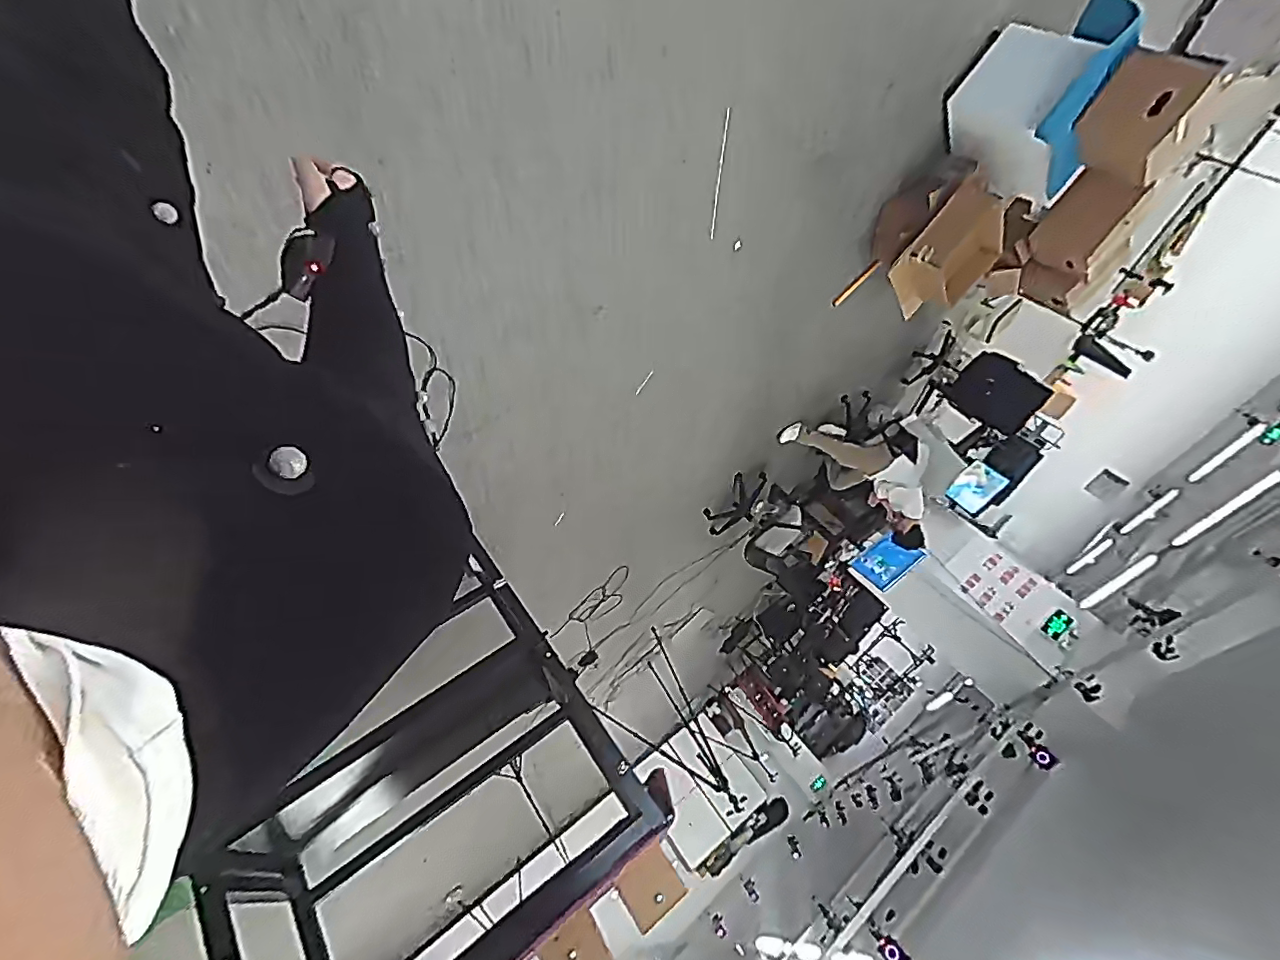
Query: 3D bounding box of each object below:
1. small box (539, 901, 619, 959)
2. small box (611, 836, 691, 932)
[{"bbox_3d":[-0.175,1.349,1.548,0.168,0.176,0.179,-30,149,-23],"label":"small box"},{"bbox_3d":[0.031,1.228,1.653,0.179,0.176,0.168,-30,149,-23],"label":"small box"}]
